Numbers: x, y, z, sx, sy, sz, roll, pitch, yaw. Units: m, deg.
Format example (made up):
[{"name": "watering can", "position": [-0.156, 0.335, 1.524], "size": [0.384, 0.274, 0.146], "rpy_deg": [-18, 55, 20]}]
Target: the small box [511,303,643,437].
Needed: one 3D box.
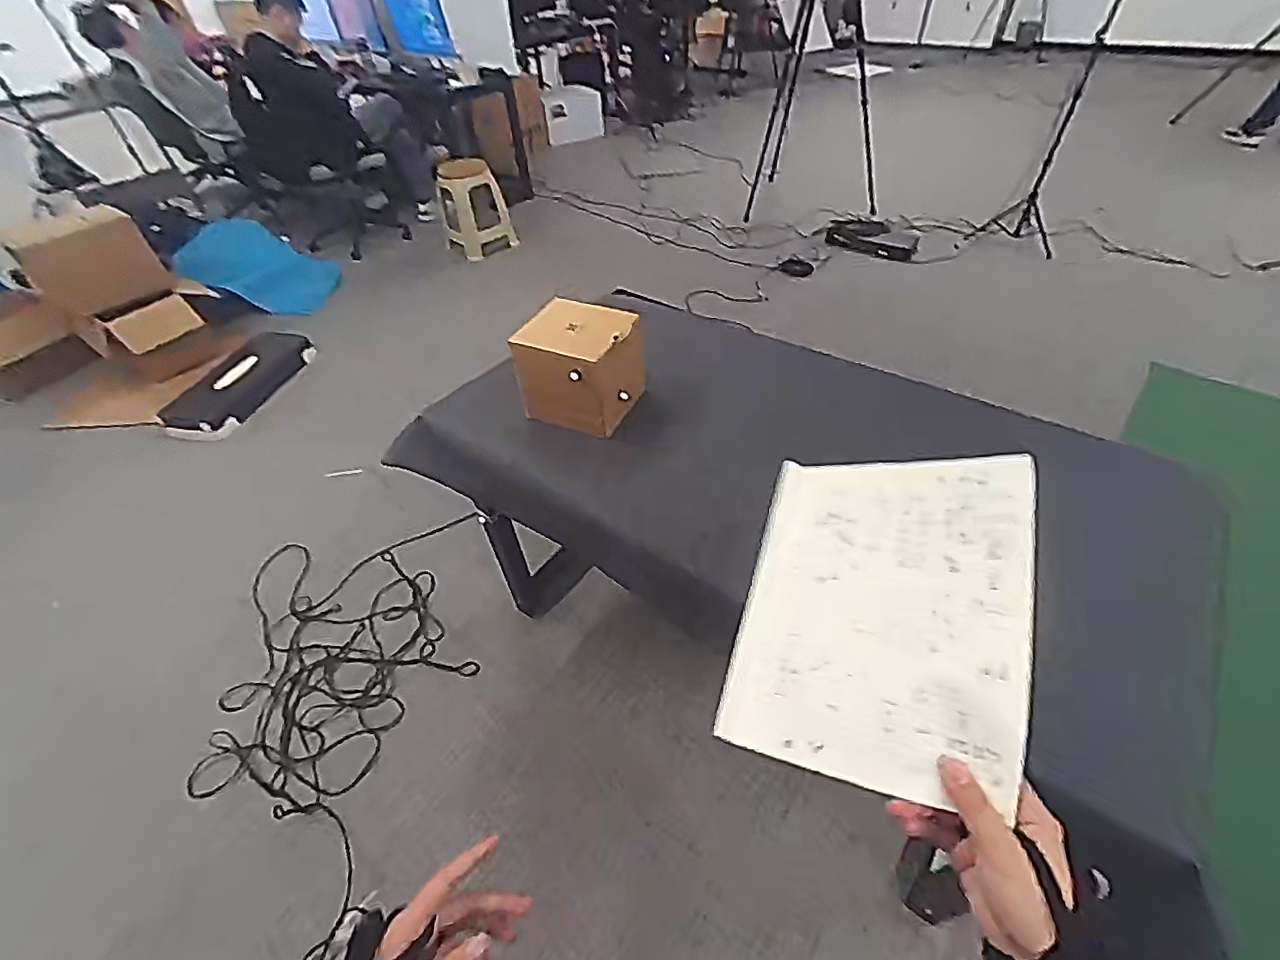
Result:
[{"name": "small box", "position": [-0.107, -0.201, 0.995], "size": [0.179, 0.176, 0.168], "rpy_deg": [17, 48, 19]}]
